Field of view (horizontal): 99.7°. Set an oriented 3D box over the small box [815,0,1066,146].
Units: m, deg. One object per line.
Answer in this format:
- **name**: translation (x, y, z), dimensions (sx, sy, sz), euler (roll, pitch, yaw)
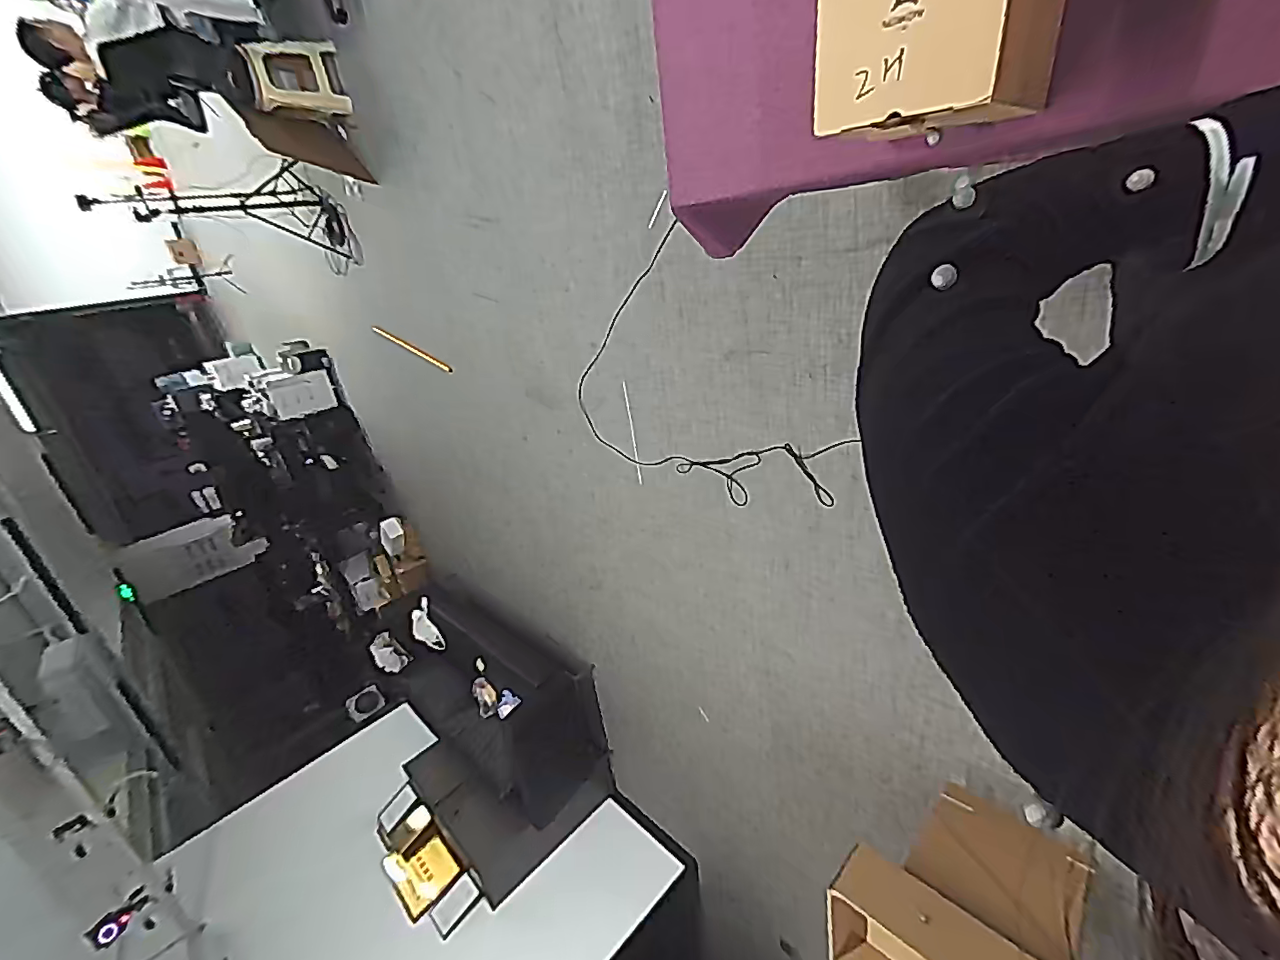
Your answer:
- **small box**: translation (0.292, -0.440, 0.525), dimensions (0.168, 0.176, 0.179), euler (20, 125, 43)
